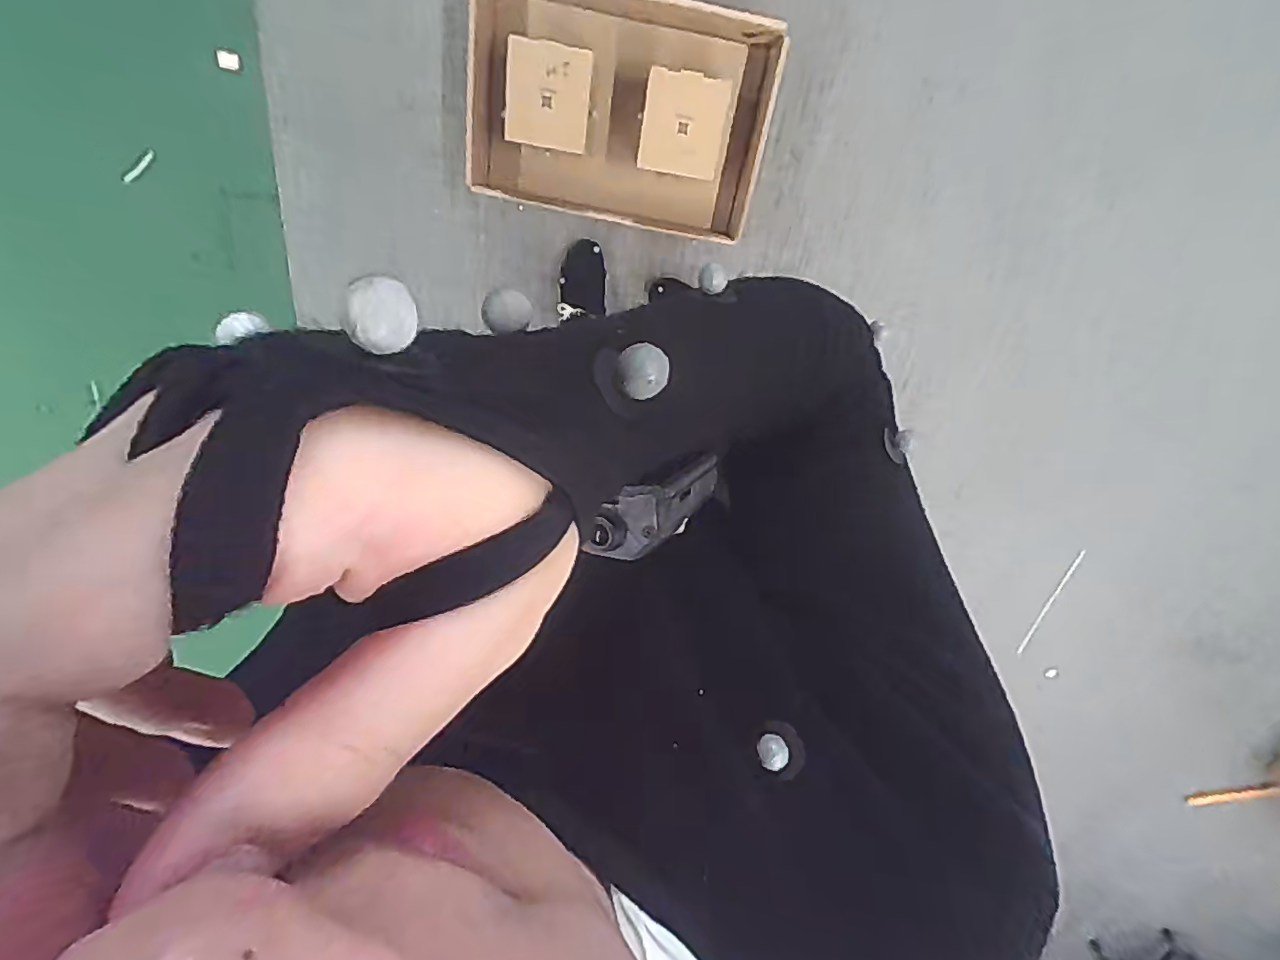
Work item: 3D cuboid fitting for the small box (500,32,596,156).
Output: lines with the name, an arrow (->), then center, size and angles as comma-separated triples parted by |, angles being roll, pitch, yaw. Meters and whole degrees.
small box -> -0.187, -0.794, 1.133 | 0.168, 0.176, 0.179 | 9, 118, -5

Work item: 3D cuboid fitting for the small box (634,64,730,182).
small box -> 0.083, -0.750, 1.153 | 0.168, 0.176, 0.179 | 10, 119, -3
